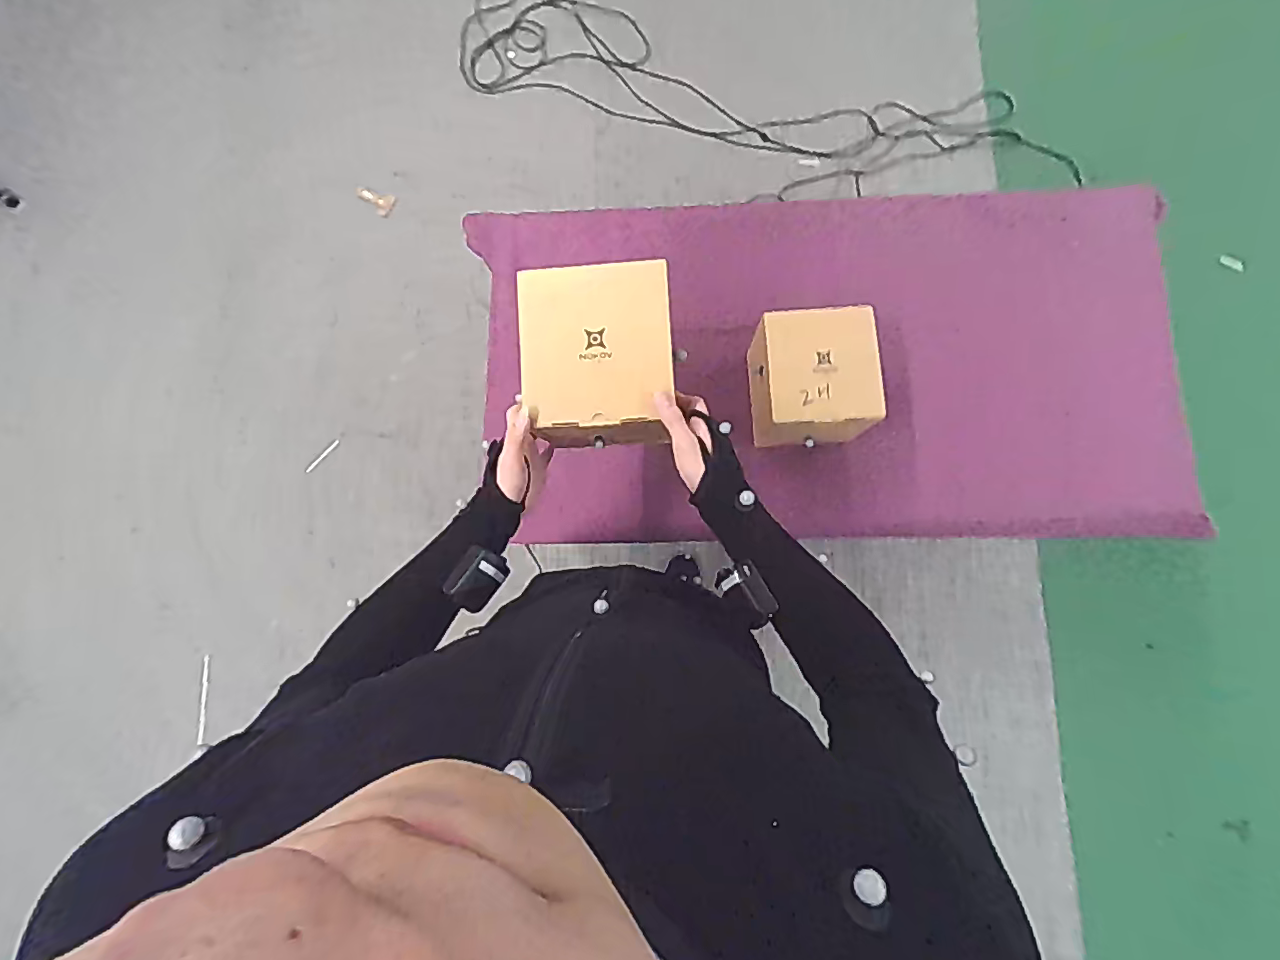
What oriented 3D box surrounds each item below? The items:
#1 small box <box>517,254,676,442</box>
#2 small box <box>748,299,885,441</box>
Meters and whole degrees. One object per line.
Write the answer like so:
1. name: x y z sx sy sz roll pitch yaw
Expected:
1. small box: -0.045 -0.145 0.649 0.168 0.176 0.179 -3 87 3
2. small box: 0.272 -0.168 0.871 0.168 0.176 0.179 -3 82 2
